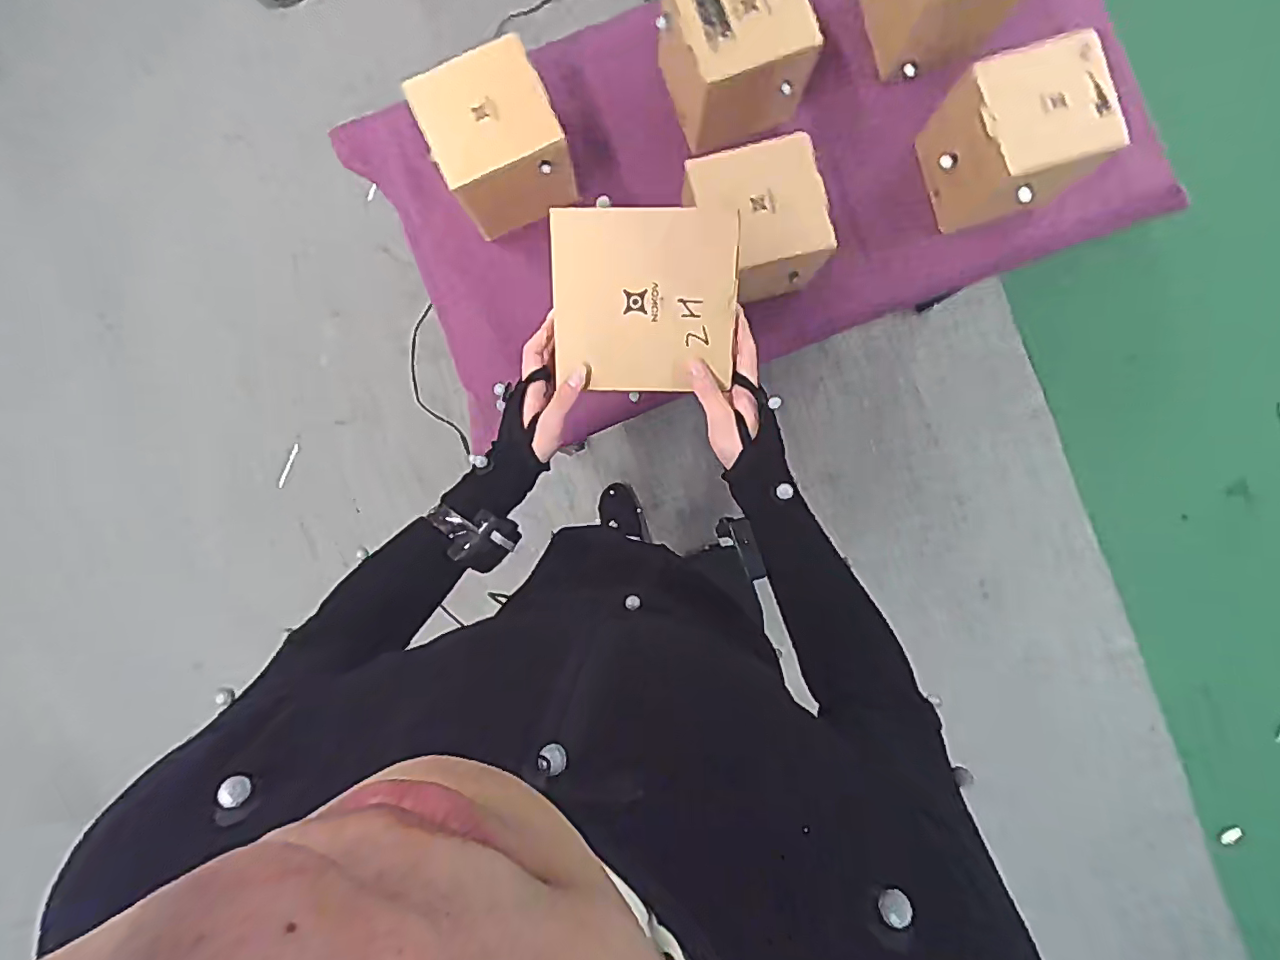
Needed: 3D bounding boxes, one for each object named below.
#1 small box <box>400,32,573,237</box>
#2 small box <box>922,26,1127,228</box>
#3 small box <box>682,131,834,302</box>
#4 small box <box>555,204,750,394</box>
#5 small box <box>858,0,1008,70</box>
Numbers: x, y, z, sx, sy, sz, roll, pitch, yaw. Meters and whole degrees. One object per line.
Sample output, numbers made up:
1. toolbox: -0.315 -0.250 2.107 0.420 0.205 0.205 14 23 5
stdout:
1. small box: -0.218 -0.503 0.816 0.179 0.176 0.168 -25 90 0
2. small box: 0.552 -0.509 0.808 0.179 0.176 0.168 -16 89 2
3. small box: 0.164 -0.377 0.814 0.179 0.176 0.168 -13 89 1
4. small box: 0.012 -0.186 0.578 0.179 0.176 0.168 2 107 1
5. small box: 0.448 -0.760 0.809 0.168 0.176 0.179 -15 90 0
